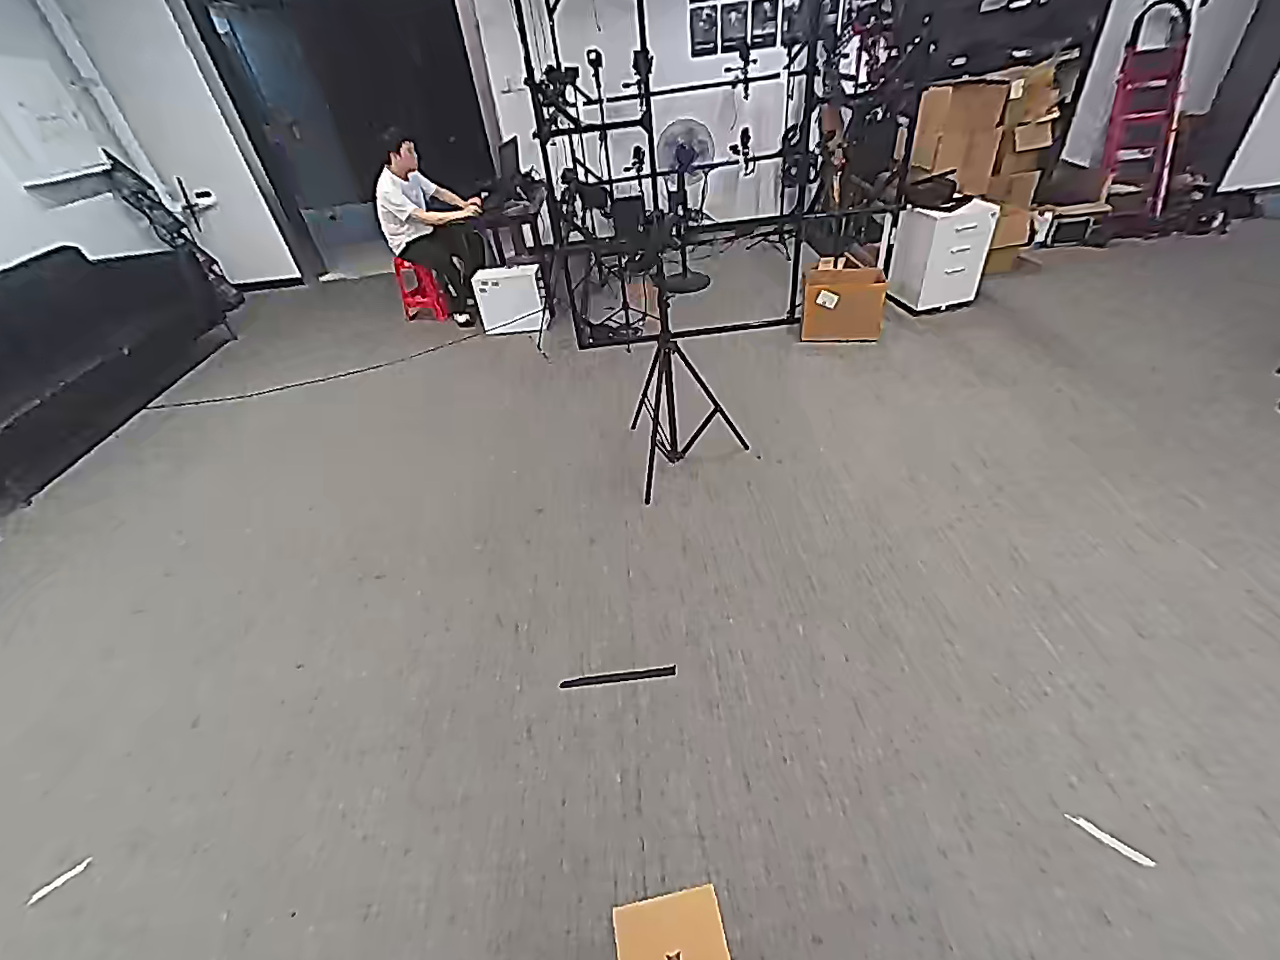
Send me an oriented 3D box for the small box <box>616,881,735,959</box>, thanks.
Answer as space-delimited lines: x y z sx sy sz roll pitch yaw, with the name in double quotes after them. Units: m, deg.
0.062 0.762 0.830 0.168 0.176 0.179 -11 39 -4 "small box"
